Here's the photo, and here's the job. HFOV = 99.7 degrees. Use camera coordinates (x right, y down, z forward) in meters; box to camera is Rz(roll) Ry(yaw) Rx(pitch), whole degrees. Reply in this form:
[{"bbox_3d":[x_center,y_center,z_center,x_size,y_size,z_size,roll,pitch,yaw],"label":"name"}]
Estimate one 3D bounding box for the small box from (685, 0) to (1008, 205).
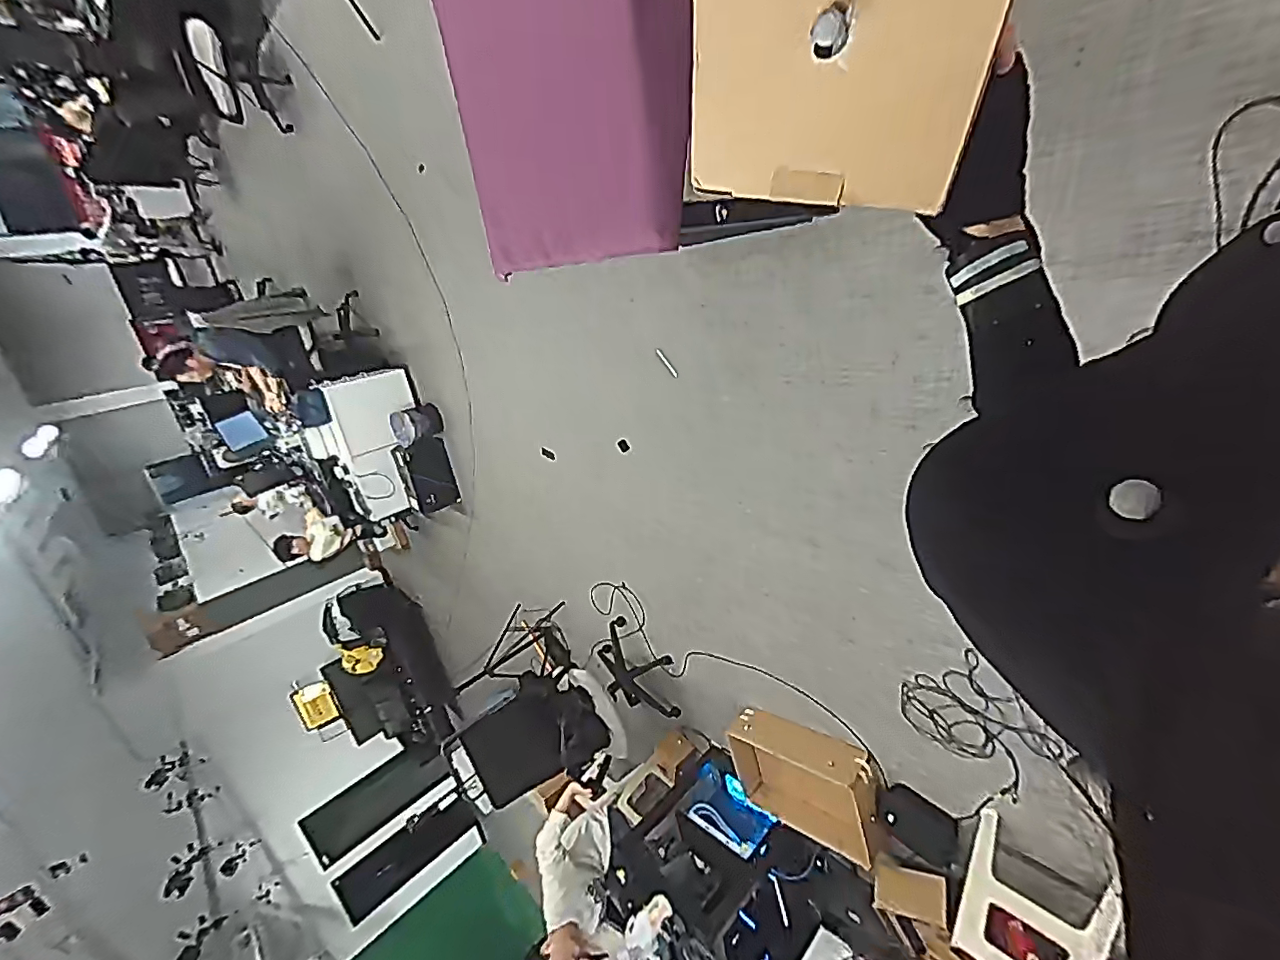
[{"bbox_3d":[0.134,-0.294,0.335,0.168,0.179,0.176,19,140,21],"label":"small box"}]
